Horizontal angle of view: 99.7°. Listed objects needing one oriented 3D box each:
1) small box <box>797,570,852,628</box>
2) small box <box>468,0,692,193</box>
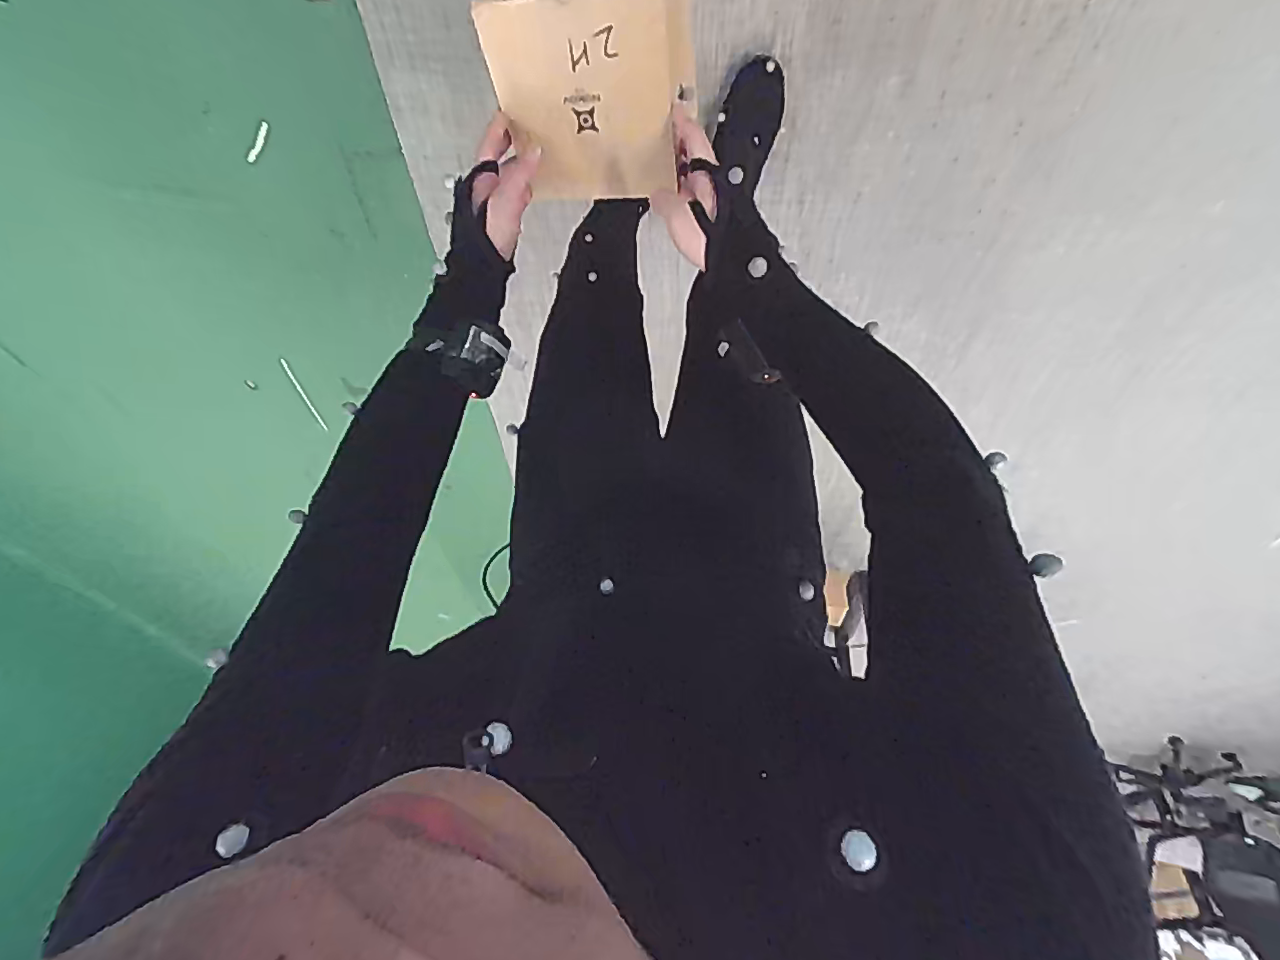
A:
[{"bbox_3d":[0.734,0.474,2.170,0.179,0.176,0.168,4,139,9],"label":"small box"},{"bbox_3d":[-0.040,-0.419,0.540,0.168,0.176,0.179,5,149,11],"label":"small box"}]
